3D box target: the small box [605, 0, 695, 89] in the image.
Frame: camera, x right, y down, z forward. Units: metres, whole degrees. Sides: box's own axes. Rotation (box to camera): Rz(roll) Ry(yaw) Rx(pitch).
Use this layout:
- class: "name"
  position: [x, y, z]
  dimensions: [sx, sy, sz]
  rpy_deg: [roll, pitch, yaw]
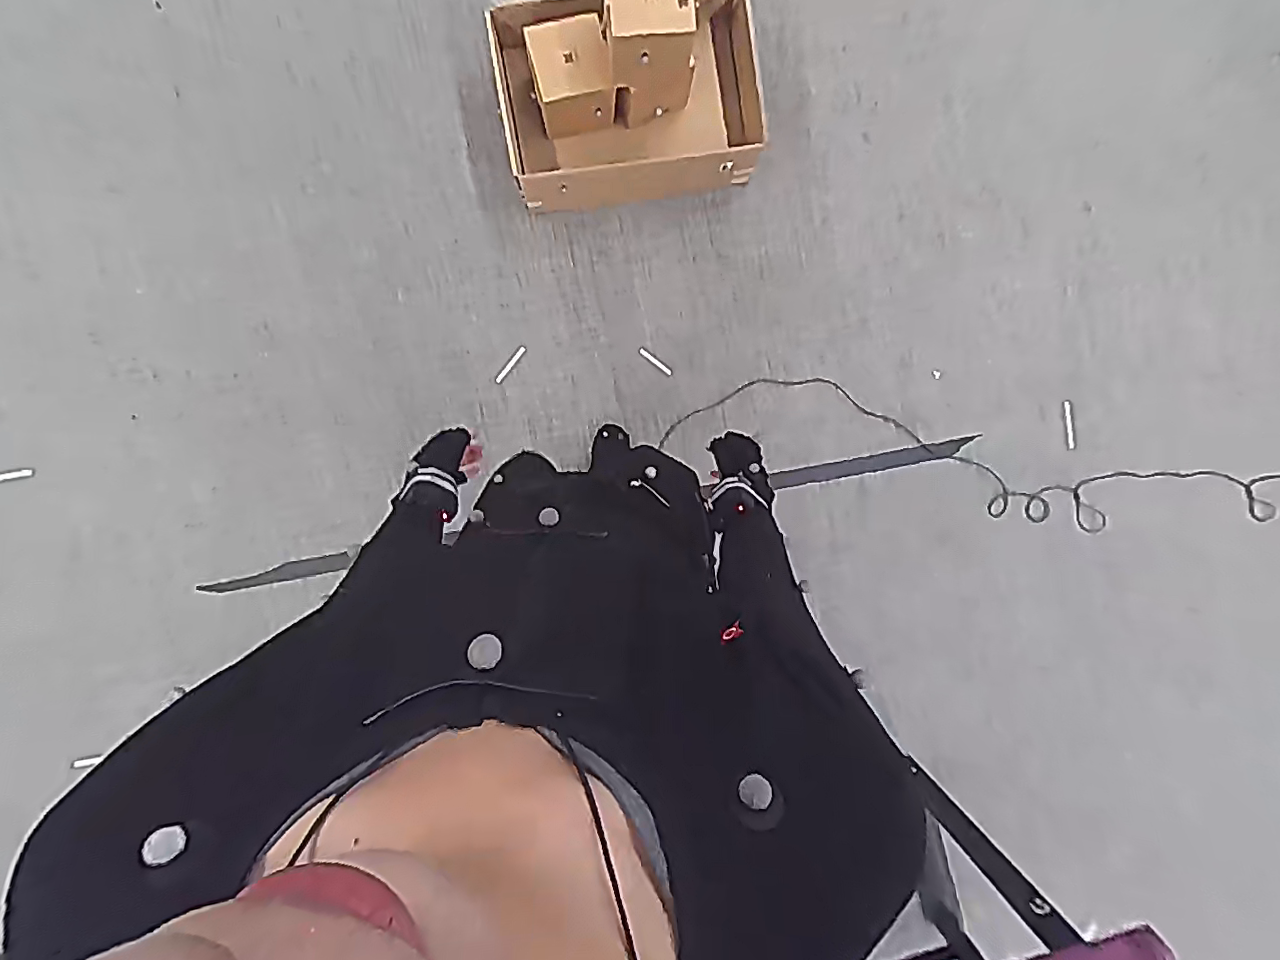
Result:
- class: "small box"
  position: [0.016, -0.976, 1.160]
  dimensions: [0.179, 0.176, 0.168]
  rpy_deg: [-6, 96, -1]
